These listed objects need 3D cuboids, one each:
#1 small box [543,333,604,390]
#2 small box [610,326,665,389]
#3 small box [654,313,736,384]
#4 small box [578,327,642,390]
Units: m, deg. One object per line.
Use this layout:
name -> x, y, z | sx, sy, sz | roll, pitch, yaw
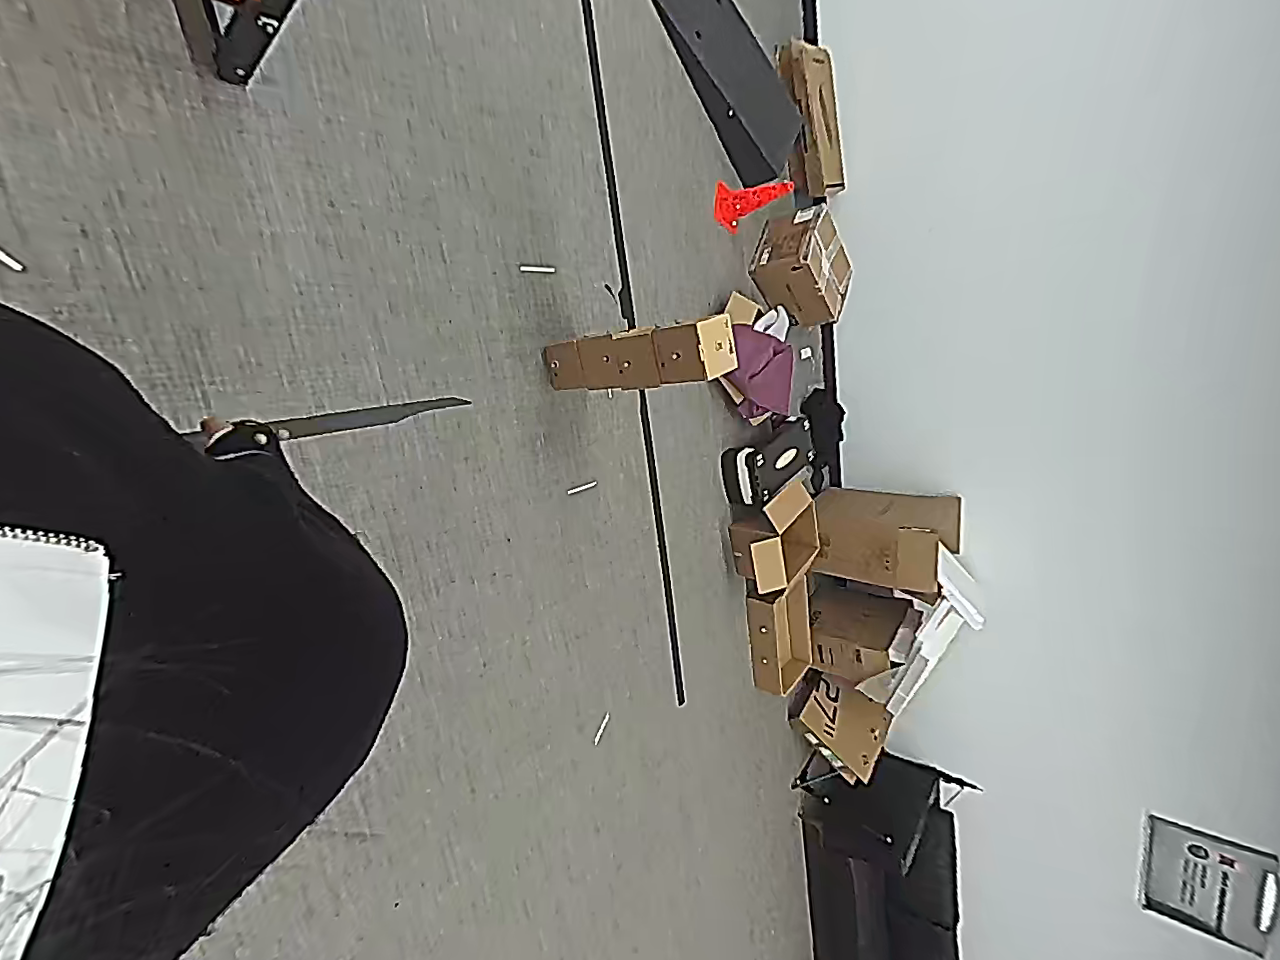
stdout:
small box -> -0.215, -0.423, 1.932 | 0.179, 0.176, 0.168 | -30, 114, -42
small box -> 0.032, -0.392, 1.717 | 0.179, 0.176, 0.168 | -32, 115, -42
small box -> 0.158, -0.389, 1.612 | 0.179, 0.176, 0.168 | -30, 114, -43
small box -> -0.090, -0.410, 1.827 | 0.168, 0.176, 0.179 | -27, 113, -44
